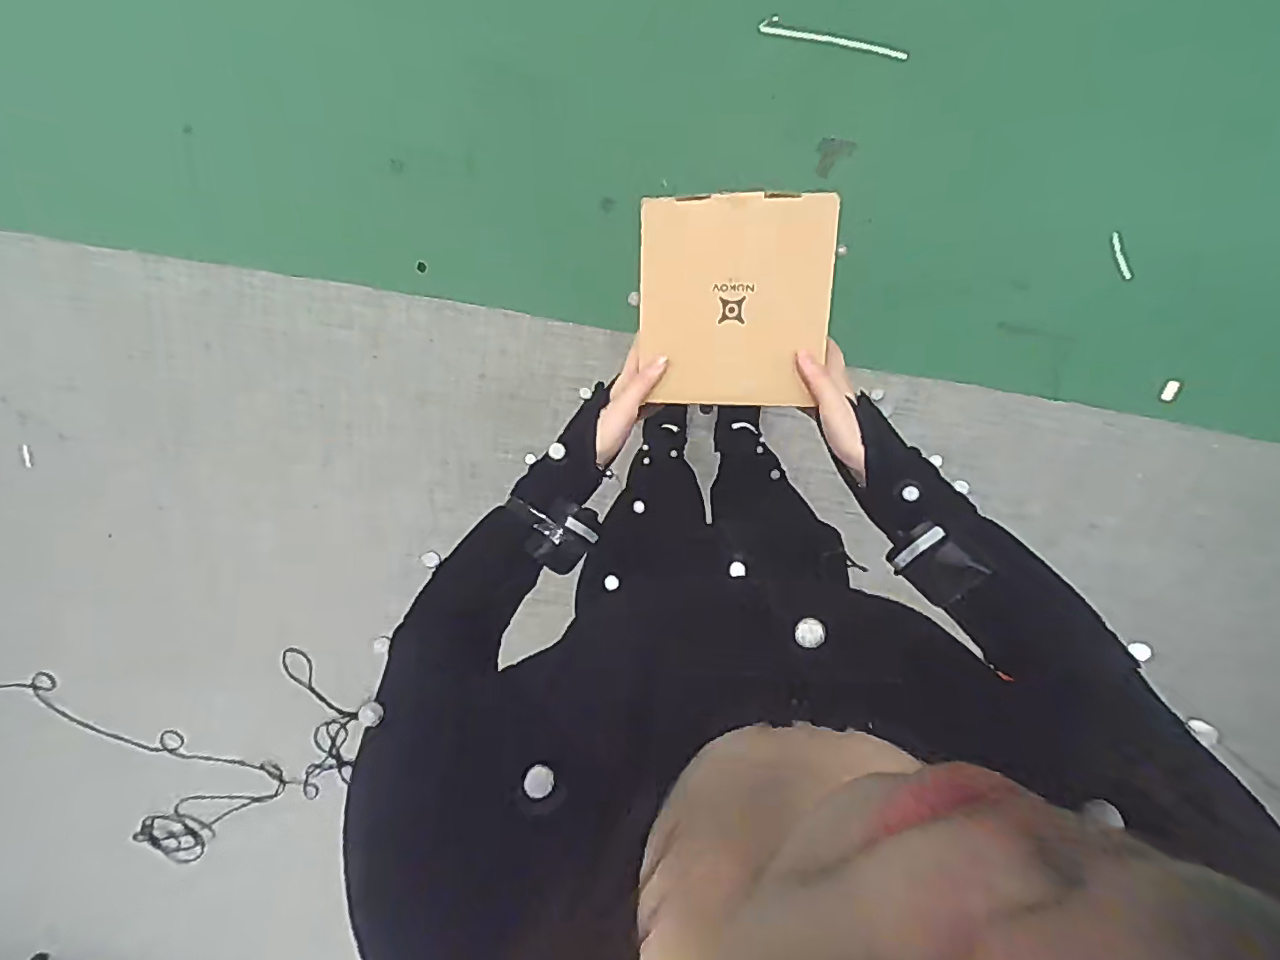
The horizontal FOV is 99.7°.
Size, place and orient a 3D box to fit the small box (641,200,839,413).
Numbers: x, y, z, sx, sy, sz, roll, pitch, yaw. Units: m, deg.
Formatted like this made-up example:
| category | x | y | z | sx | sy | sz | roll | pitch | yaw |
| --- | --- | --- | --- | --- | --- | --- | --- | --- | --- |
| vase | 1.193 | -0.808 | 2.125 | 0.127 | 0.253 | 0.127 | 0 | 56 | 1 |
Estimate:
| category | x | y | z | sx | sy | sz | roll | pitch | yaw |
| --- | --- | --- | --- | --- | --- | --- | --- | --- | --- |
| small box | 0.097 | -0.165 | 0.550 | 0.168 | 0.176 | 0.179 | 3 | 102 | 10 |
